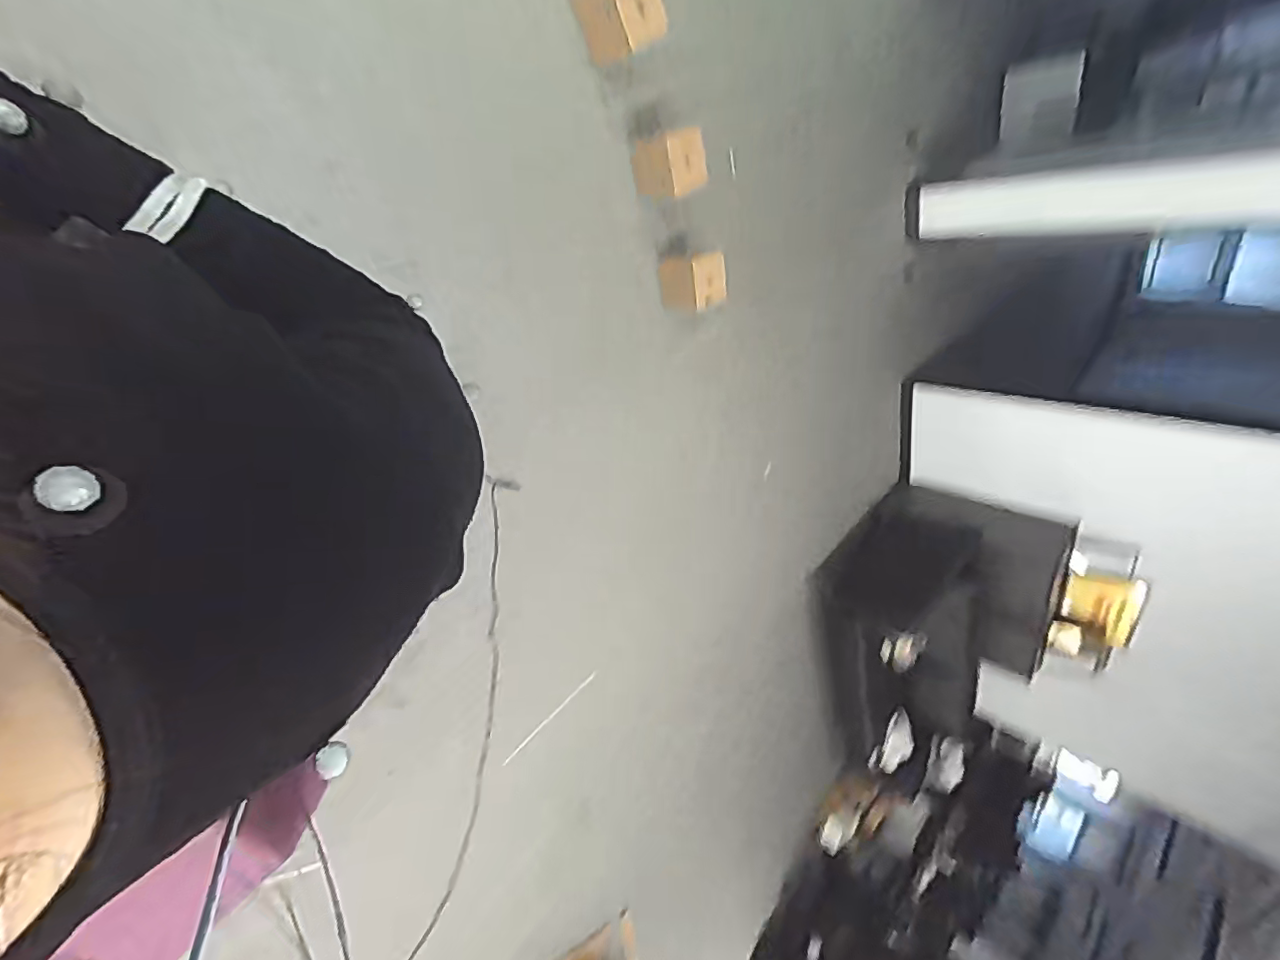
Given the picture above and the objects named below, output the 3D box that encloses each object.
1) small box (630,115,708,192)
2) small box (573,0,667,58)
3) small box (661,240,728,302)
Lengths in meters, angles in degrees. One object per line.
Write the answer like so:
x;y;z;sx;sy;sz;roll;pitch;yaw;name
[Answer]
0.093;-1.043;1.738;0.168;0.176;0.179;-38;129;-29;small box
-0.061;-1.309;1.484;0.168;0.176;0.179;-48;134;-20;small box
0.195;-0.753;1.951;0.168;0.176;0.179;-33;126;-31;small box
